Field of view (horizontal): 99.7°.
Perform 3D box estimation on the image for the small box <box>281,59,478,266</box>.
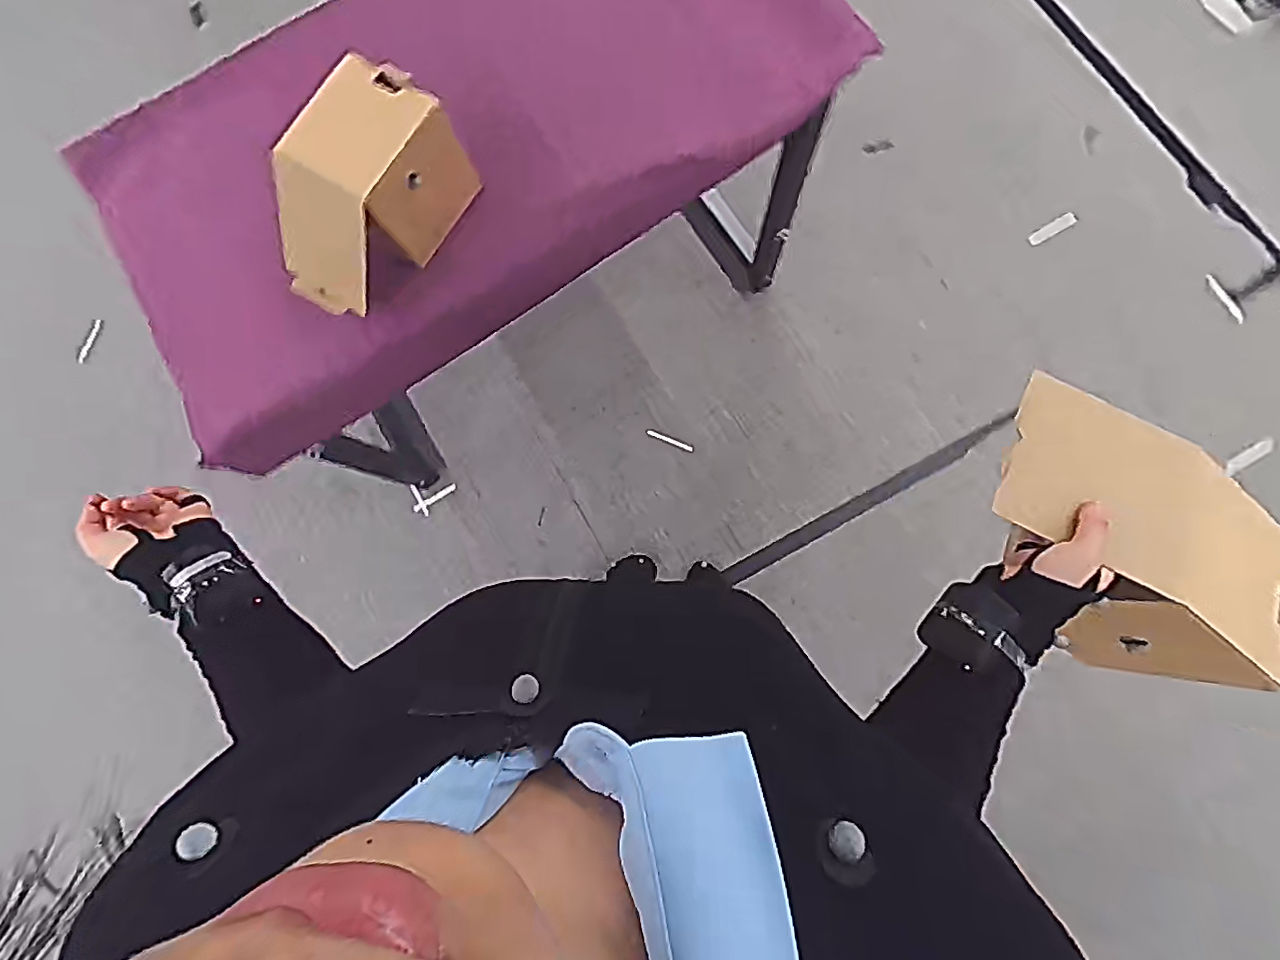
[{"bbox_3d":[-0.374,-0.463,0.815,0.168,0.176,0.179,33,84,9],"label":"small box"}]
